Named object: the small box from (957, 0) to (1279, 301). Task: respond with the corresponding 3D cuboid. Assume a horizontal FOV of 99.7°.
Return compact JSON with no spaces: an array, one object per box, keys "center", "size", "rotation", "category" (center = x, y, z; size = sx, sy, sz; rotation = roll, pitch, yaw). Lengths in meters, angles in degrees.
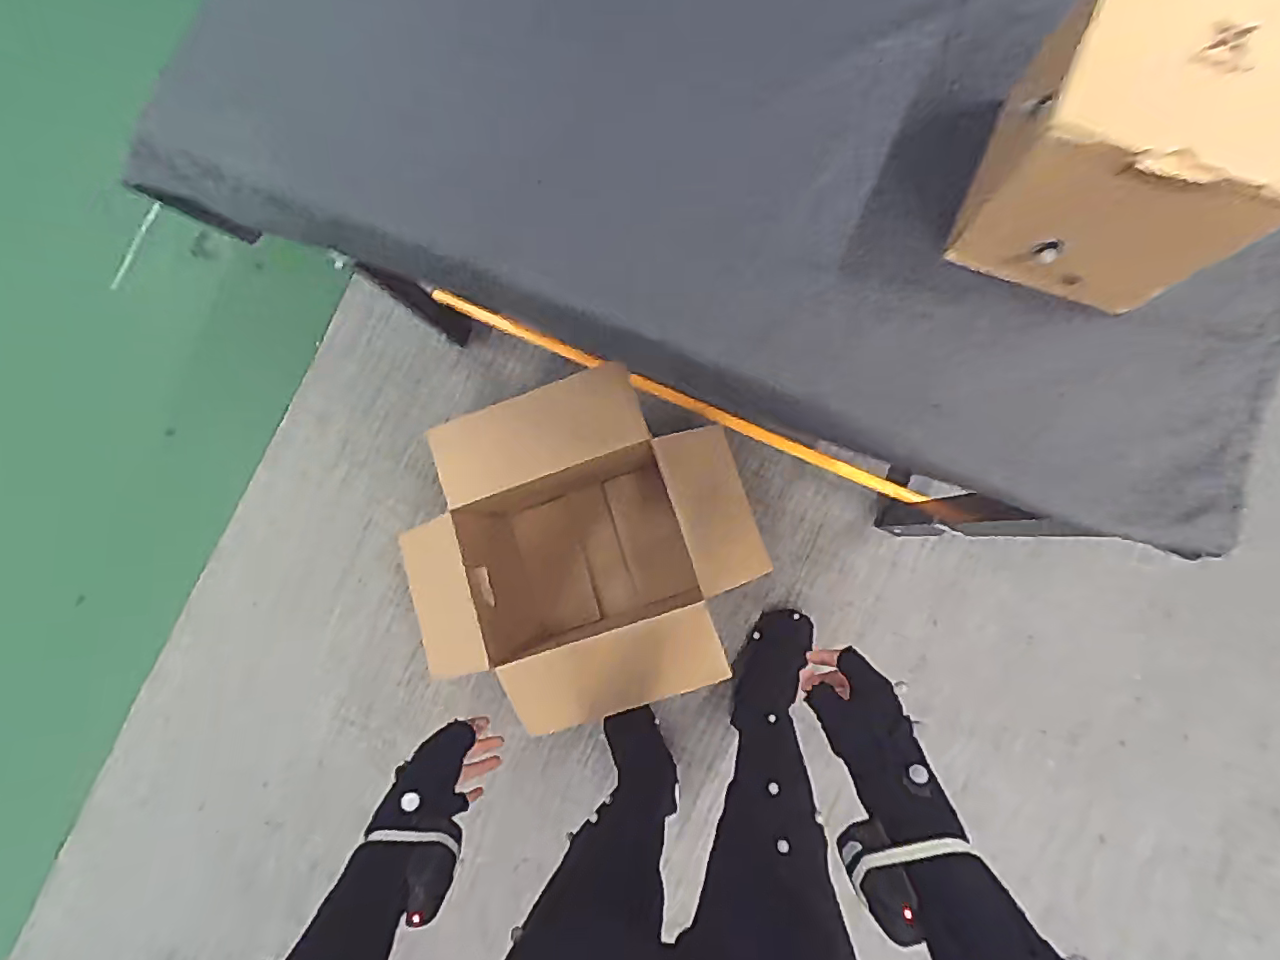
[{"center":[0.388,-0.275,0.425],"size":[0.168,0.176,0.179],"rotation":[23,89,9],"category":"small box"}]
